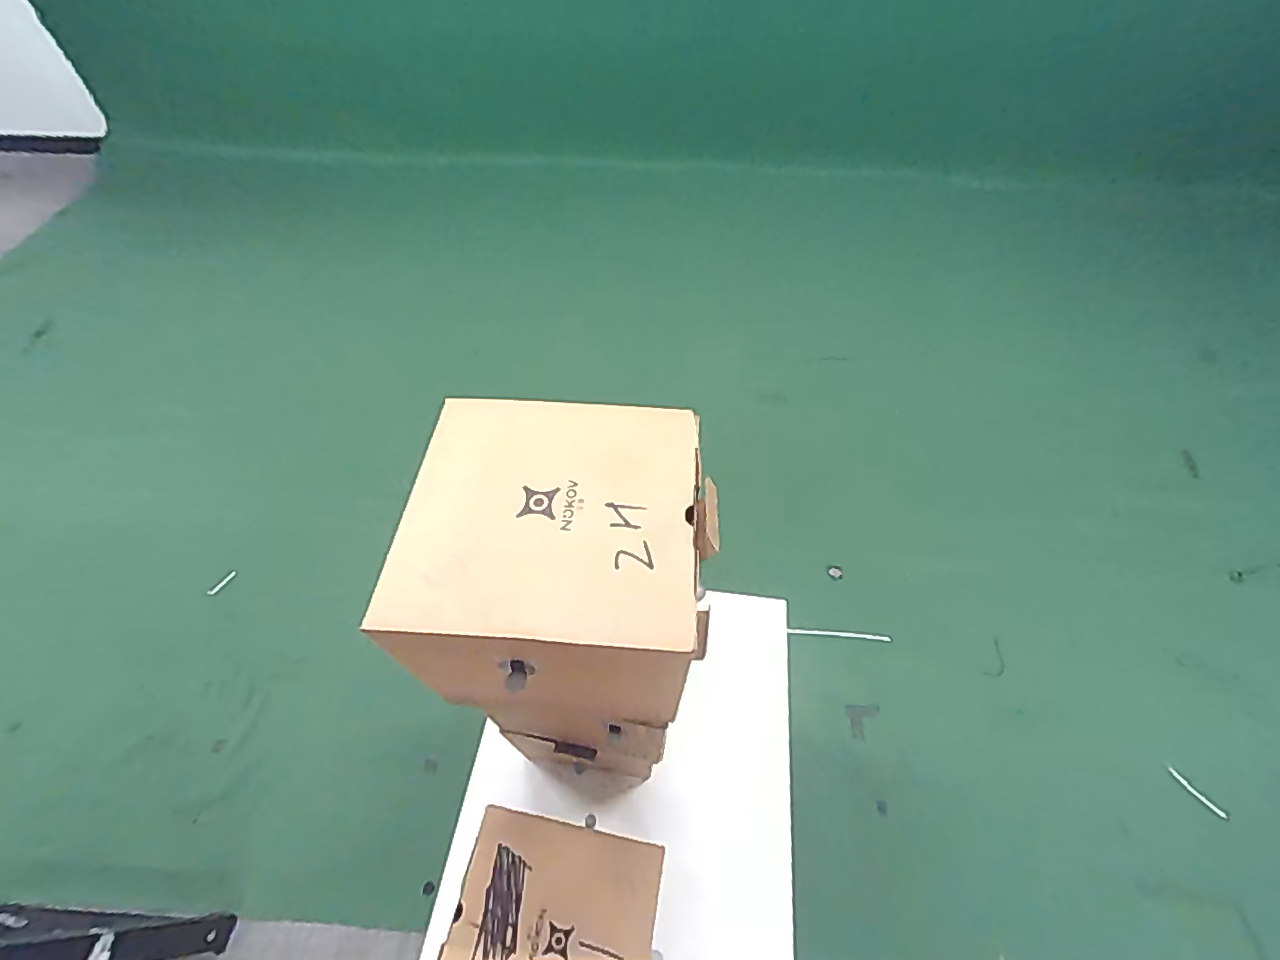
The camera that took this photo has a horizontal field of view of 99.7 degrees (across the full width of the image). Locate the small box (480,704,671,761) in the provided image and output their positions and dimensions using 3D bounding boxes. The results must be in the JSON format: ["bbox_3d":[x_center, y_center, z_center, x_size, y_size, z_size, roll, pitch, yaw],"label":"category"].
[{"bbox_3d":[-0.051,0.153,0.516,0.179,0.176,0.168,10,54,5],"label":"small box"}]

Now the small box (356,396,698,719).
[{"bbox_3d":[-0.054,0.061,0.380,0.179,0.176,0.168,4,55,1],"label":"small box"}]

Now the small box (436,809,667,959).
[{"bbox_3d":[-0.078,0.433,0.511,0.179,0.176,0.168,10,54,6],"label":"small box"}]
